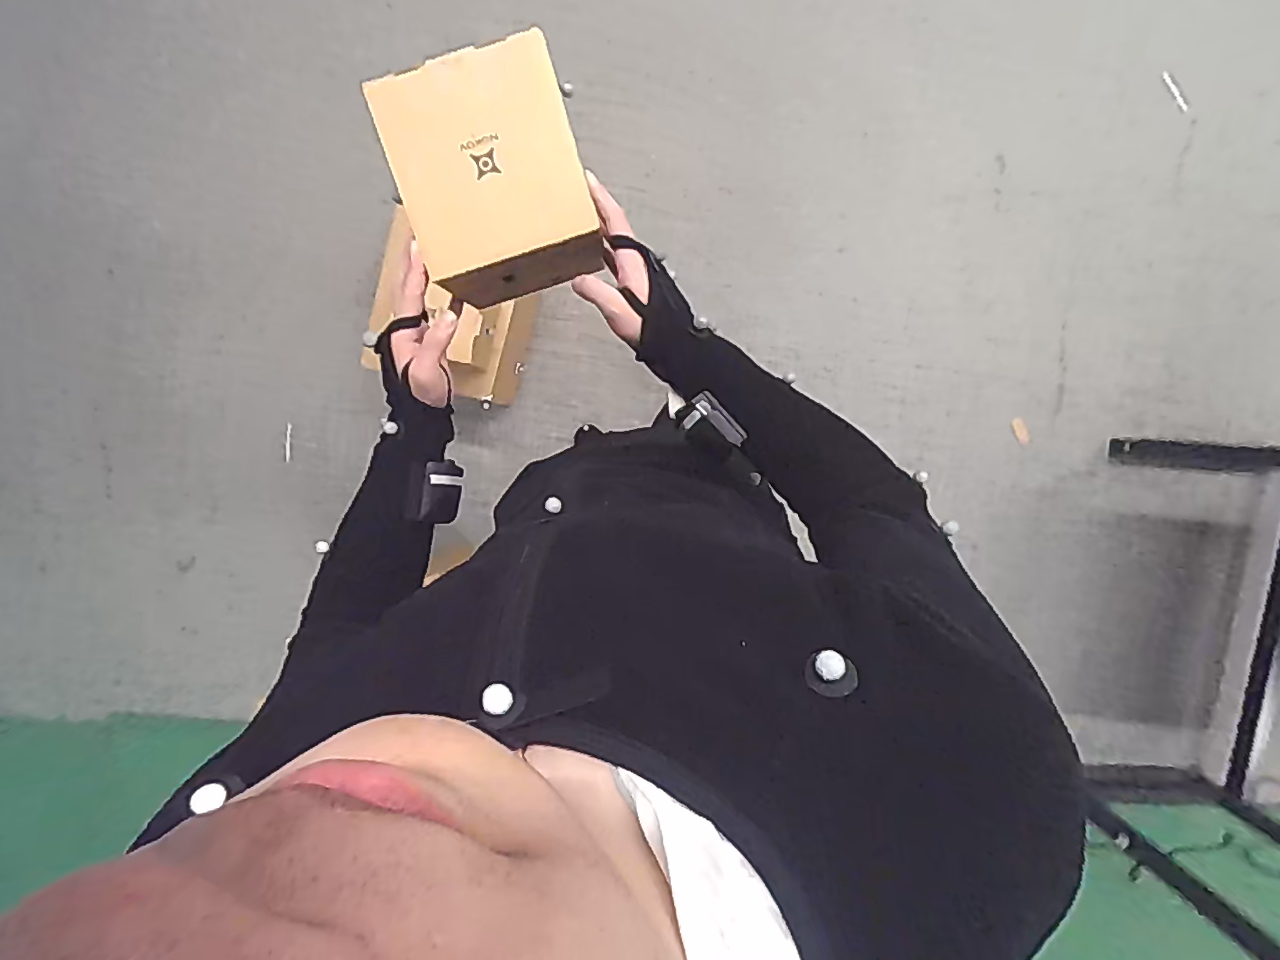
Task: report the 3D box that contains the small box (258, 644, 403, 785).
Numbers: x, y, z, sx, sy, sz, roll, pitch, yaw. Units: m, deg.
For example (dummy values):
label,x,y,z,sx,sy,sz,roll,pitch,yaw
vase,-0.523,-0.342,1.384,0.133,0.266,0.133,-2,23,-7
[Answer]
label,x,y,z,sx,sy,sz,roll,pitch,yaw
small box,-0.608,0.462,1.090,0.168,0.176,0.179,-19,97,-1

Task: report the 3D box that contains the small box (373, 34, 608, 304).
label,x,y,z,sx,sy,sz,roll,pitch,yaw
small box,-0.133,-0.294,0.560,0.168,0.176,0.179,-17,98,0

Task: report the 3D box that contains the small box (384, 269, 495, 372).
label,x,y,z,sx,sy,sz,roll,pitch,yaw
small box,-0.424,-0.336,1.174,0.179,0.176,0.168,12,96,-6

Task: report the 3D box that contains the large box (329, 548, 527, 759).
label,x,y,z,sx,sy,sz,roll,pitch,yaw
large box,-0.558,0.458,1.506,0.320,0.320,0.408,-26,98,1
